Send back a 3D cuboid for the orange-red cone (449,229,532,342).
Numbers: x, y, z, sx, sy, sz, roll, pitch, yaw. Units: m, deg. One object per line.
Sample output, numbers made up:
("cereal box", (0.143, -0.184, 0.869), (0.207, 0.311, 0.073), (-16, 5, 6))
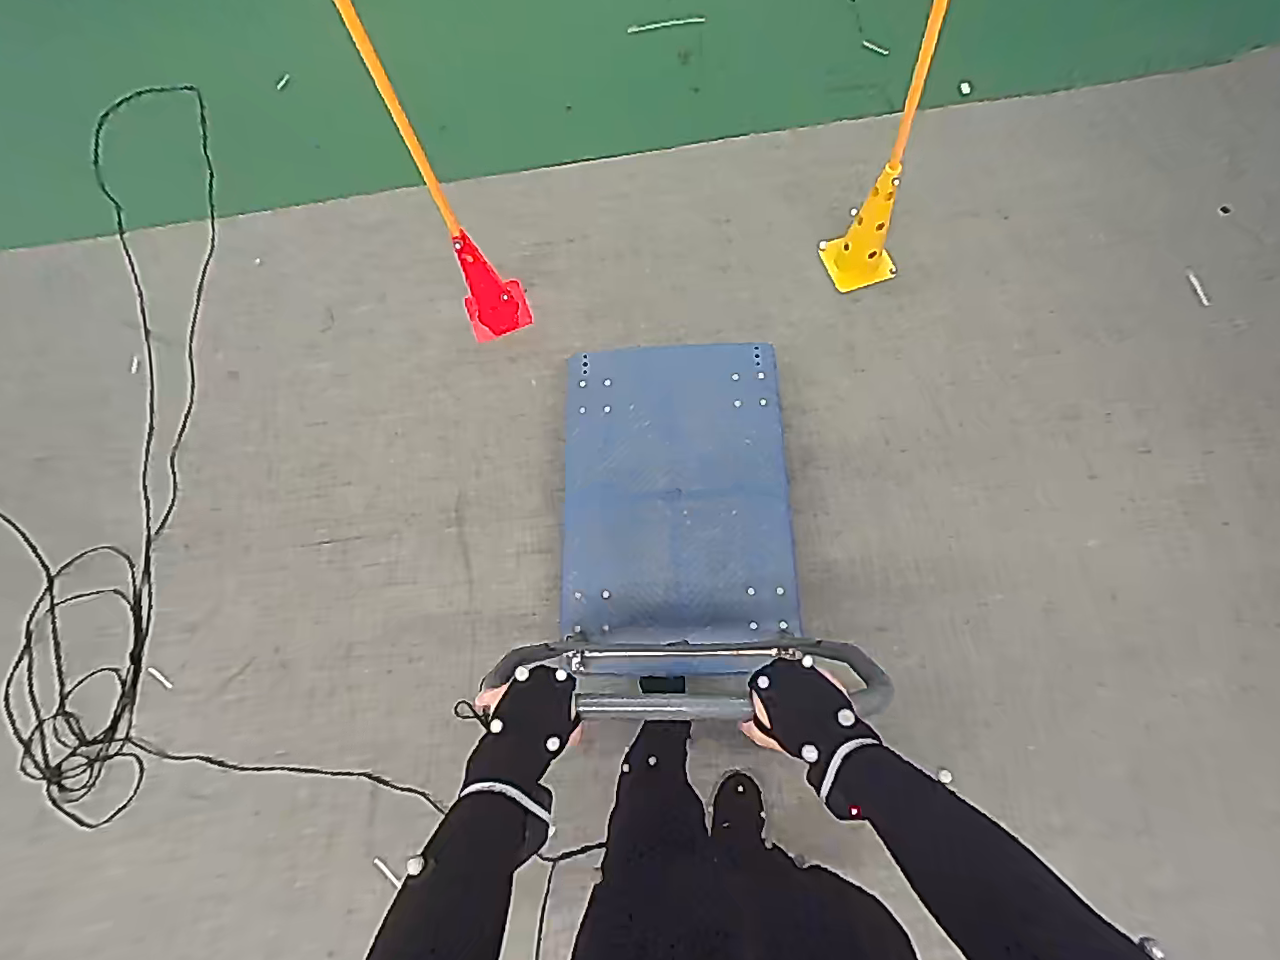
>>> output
("orange-red cone", (-0.490, -0.617, 1.646), (0.199, 0.360, 0.198), (-21, 71, -1))
